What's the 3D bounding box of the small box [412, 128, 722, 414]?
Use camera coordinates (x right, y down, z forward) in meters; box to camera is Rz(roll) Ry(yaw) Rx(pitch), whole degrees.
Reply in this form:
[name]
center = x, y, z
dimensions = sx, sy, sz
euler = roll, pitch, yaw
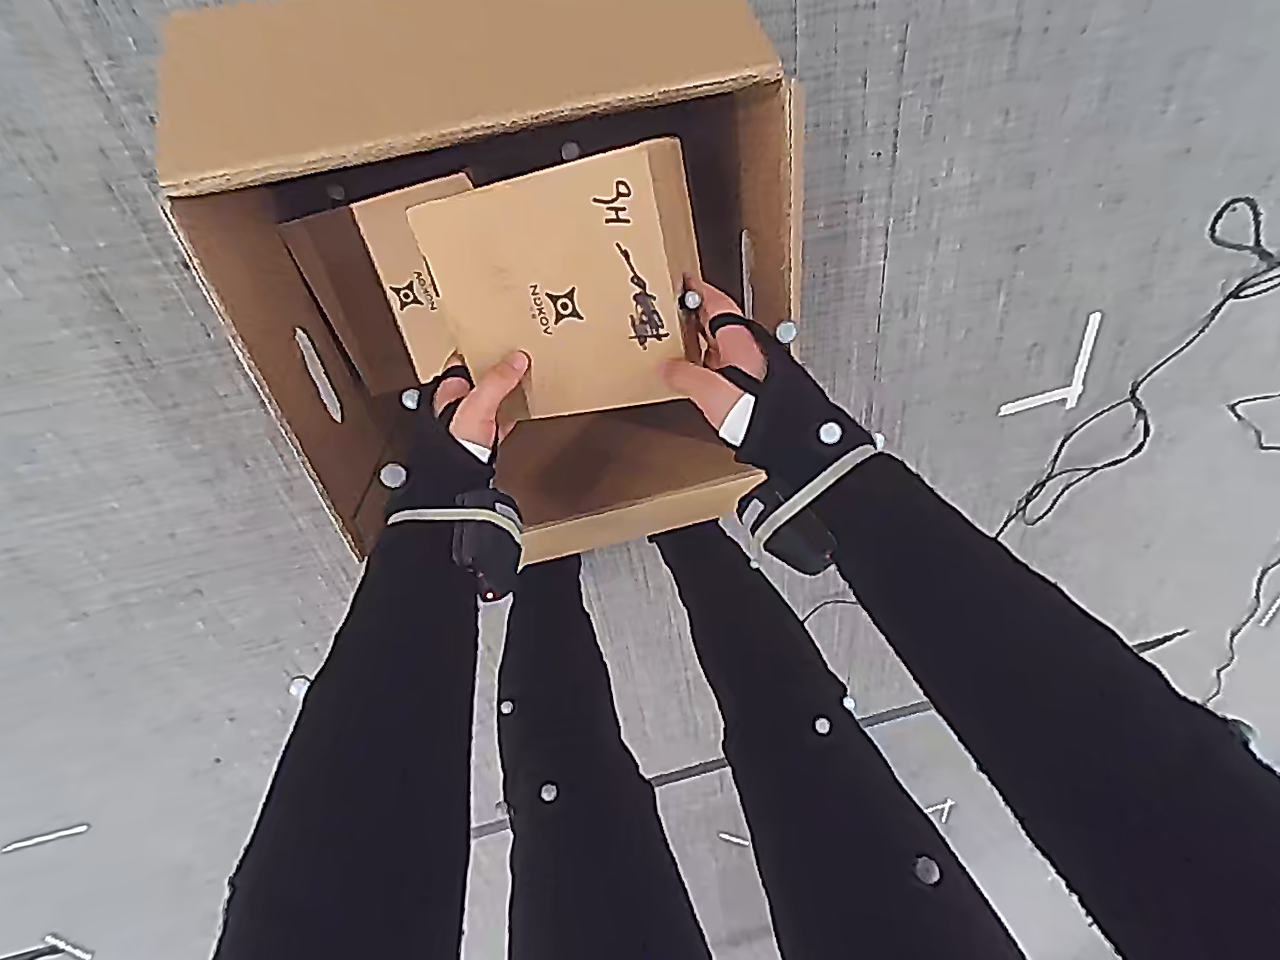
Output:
[small box]
center = -0.038, -0.170, 0.439
dimensions = 0.179, 0.176, 0.168
euler = -4, 124, 18
